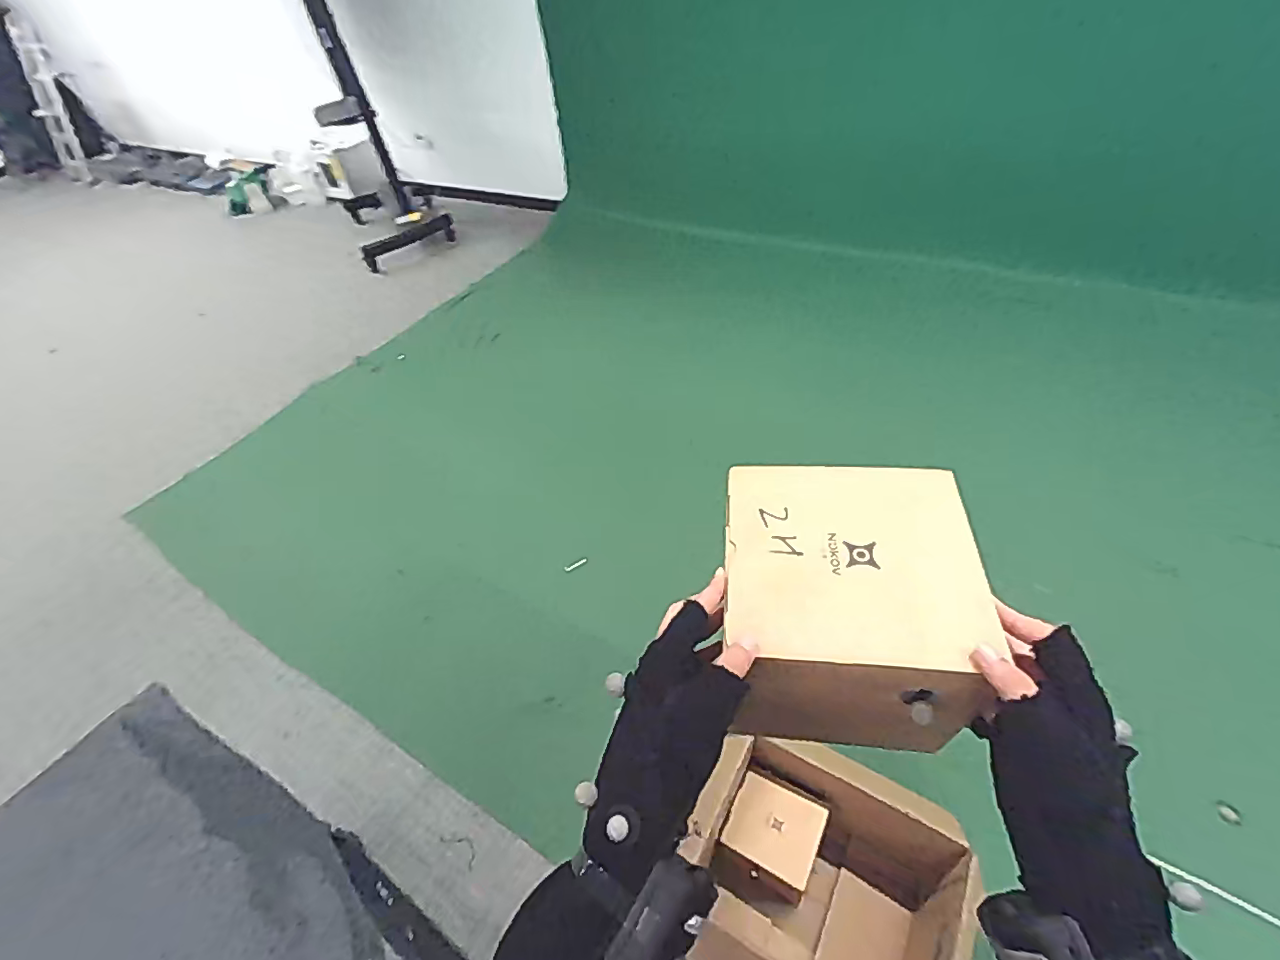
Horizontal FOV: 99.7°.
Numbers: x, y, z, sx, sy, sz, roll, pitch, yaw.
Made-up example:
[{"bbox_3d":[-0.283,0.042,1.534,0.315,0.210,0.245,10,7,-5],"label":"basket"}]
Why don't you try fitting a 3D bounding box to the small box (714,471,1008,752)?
[{"bbox_3d":[0.153,0.110,0.443,0.179,0.176,0.168,0,49,10],"label":"small box"}]
